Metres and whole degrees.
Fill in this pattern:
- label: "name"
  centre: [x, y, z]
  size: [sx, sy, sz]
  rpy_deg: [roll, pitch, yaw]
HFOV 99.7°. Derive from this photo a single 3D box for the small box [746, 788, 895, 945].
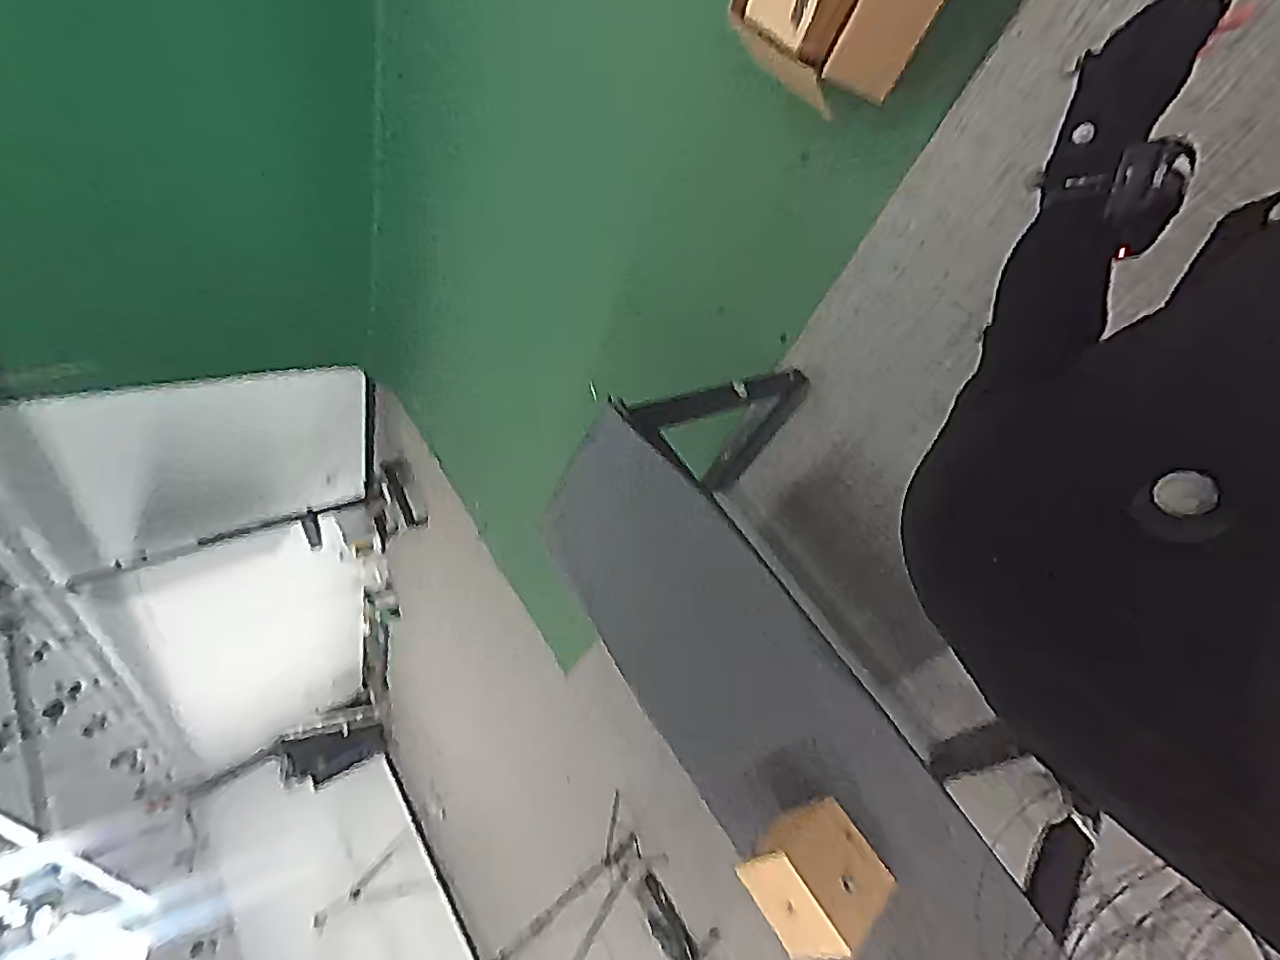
- label: "small box"
  centre: [0.337, 0.706, 0.999]
  size: [0.168, 0.176, 0.179]
  rpy_deg: [51, 139, 22]
